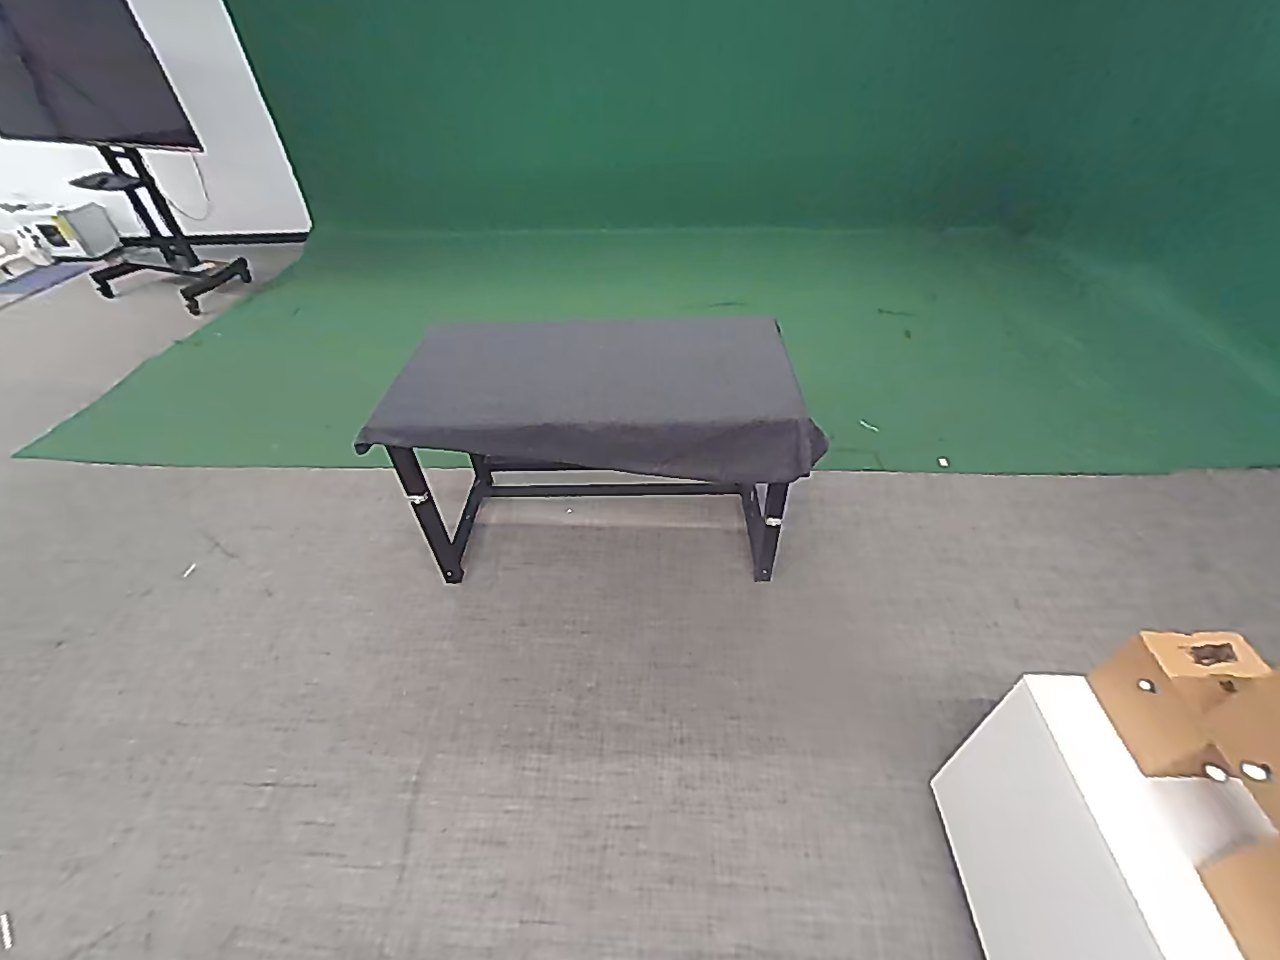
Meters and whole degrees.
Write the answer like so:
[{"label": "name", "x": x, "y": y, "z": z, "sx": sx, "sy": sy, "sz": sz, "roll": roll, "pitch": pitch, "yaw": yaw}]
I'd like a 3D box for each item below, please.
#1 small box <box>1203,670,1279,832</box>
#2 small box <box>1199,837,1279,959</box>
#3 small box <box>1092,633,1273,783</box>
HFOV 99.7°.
[{"label": "small box", "x": 0.893, "y": 0.352, "z": 0.673, "sx": 0.168, "sy": 0.176, "sz": 0.179, "roll": 0, "pitch": 44, "yaw": 2}, {"label": "small box", "x": 0.885, "y": 0.576, "z": 0.671, "sx": 0.168, "sy": 0.176, "sz": 0.179, "roll": 2, "pitch": 41, "yaw": 4}, {"label": "small box", "x": 0.908, "y": 0.373, "z": 0.889, "sx": 0.168, "sy": 0.176, "sz": 0.179, "roll": -1, "pitch": 44, "yaw": 3}]
